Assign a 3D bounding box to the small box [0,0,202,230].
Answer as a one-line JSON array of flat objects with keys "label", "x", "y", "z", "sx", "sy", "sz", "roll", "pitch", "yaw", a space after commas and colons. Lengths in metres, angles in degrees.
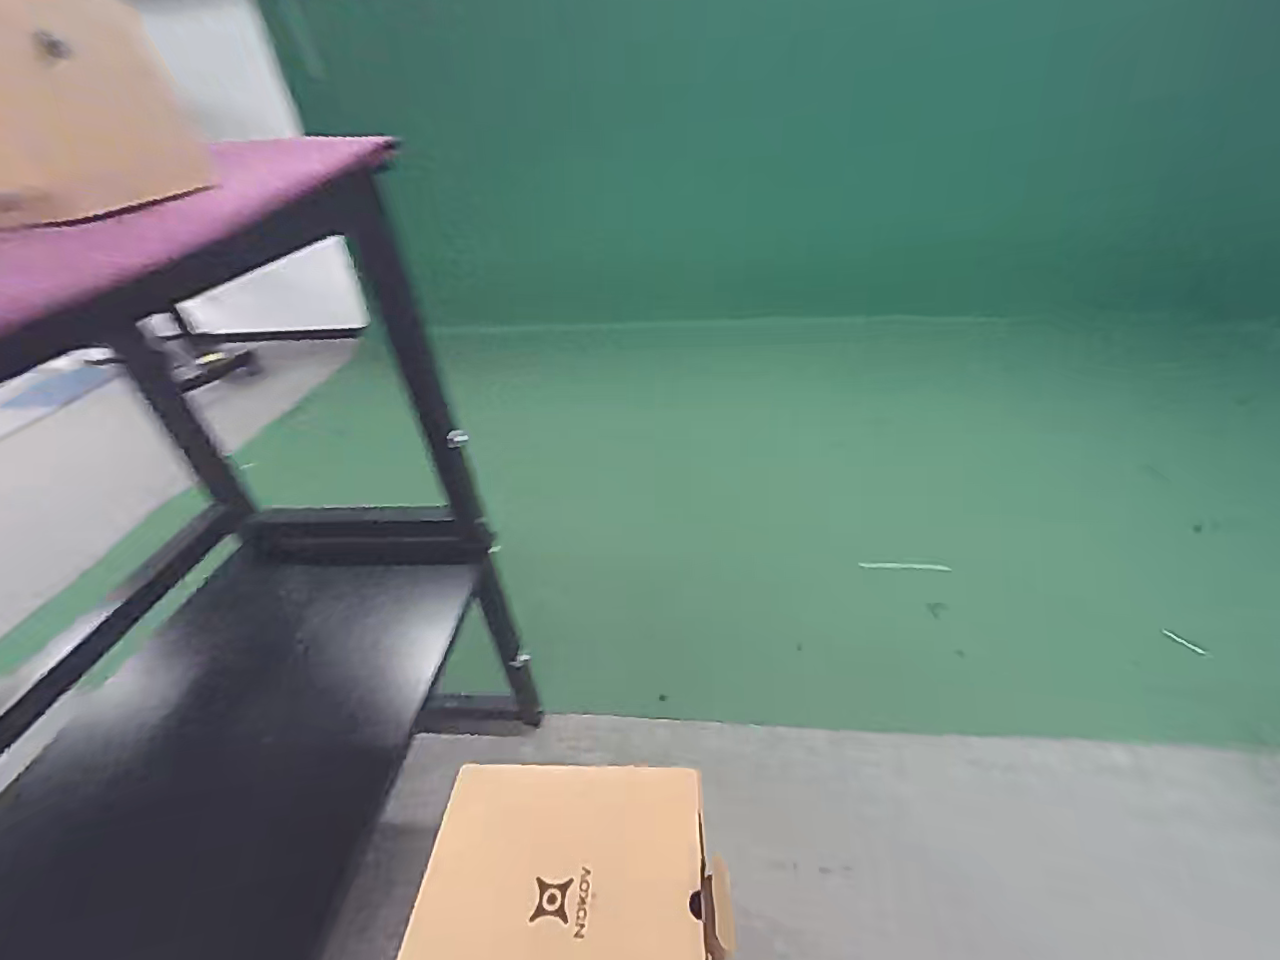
[{"label": "small box", "x": -0.569, "y": -0.335, "z": 0.495, "sx": 0.168, "sy": 0.176, "sz": 0.179, "roll": -1, "pitch": 37, "yaw": 8}]
